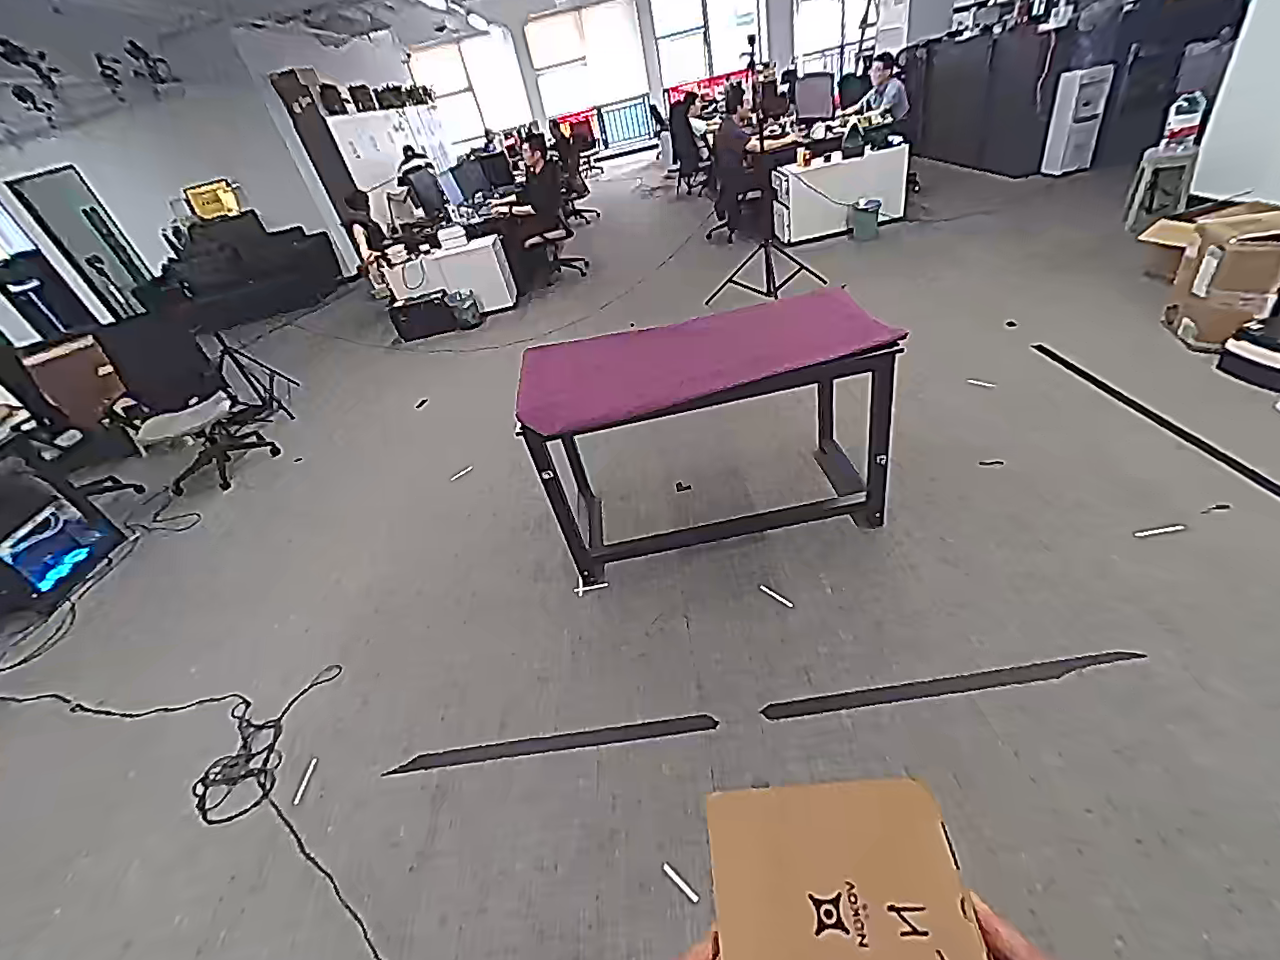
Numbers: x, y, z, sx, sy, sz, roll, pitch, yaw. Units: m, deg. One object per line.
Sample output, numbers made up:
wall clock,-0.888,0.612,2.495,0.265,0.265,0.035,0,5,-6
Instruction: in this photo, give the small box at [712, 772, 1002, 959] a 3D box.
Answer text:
small box,0.160,0.348,0.427,0.179,0.176,0.168,-8,47,8
